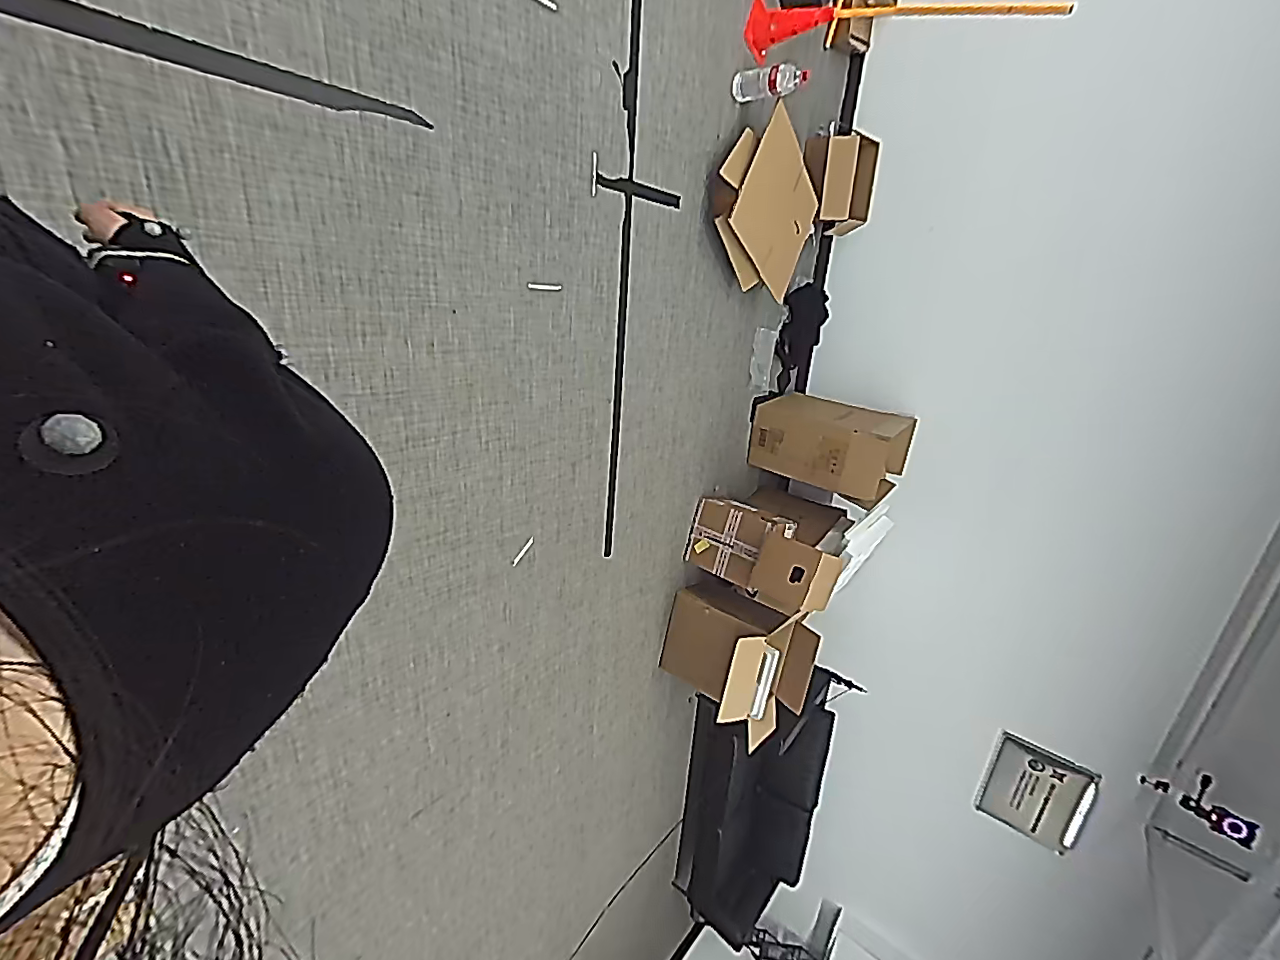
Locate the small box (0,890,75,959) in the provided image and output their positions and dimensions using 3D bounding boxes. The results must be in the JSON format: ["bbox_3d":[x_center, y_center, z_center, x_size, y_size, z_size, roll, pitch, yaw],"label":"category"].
[{"bbox_3d":[-1.096,0.861,0.916,0.179,0.176,0.168,-20,120,-47],"label":"small box"}]
